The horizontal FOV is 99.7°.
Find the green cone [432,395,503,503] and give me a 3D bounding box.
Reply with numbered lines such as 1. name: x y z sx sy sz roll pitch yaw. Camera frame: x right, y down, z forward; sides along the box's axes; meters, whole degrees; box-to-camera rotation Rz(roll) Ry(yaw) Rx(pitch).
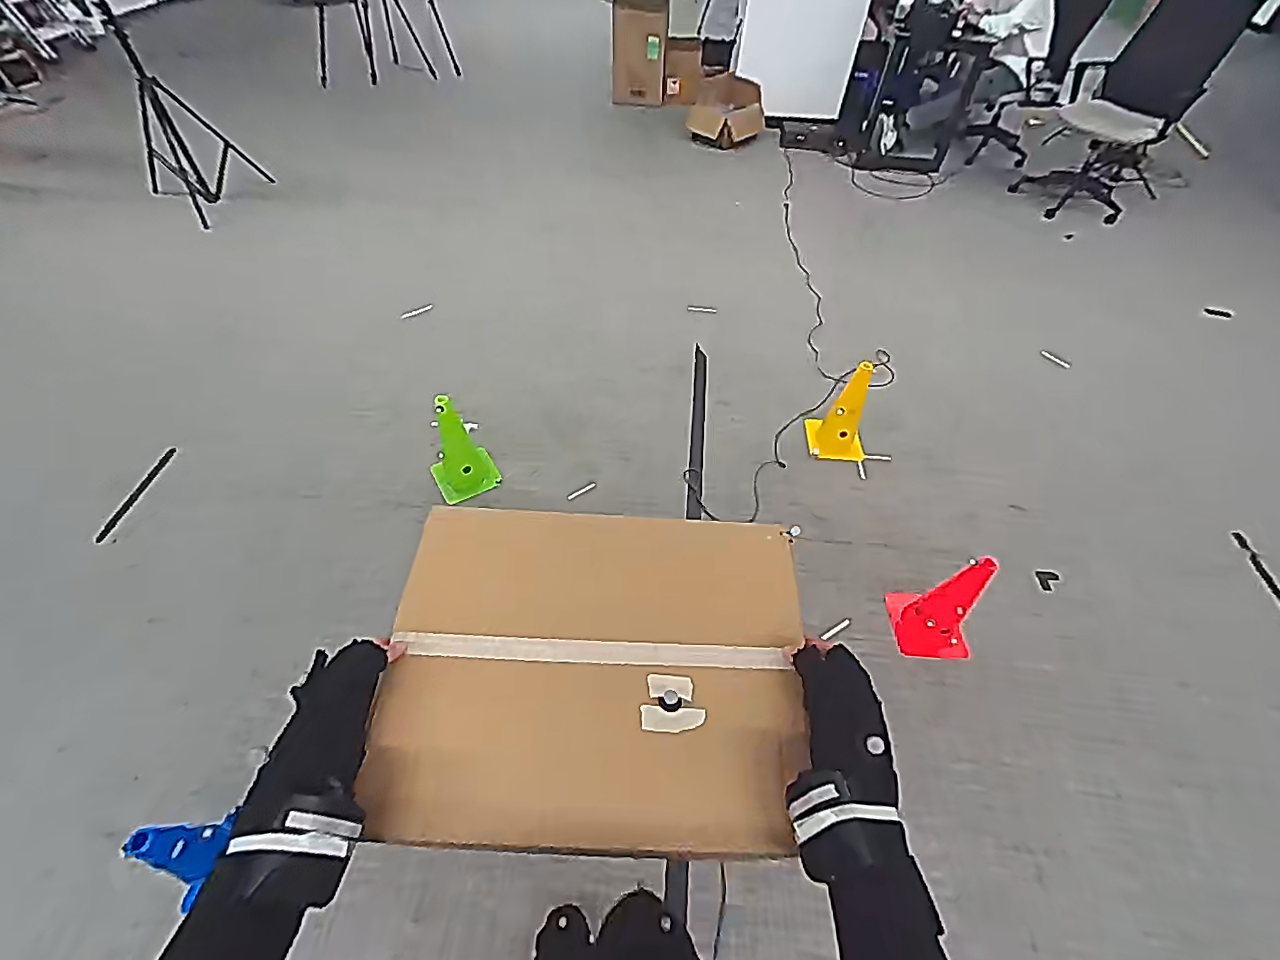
1. green cone: -0.598 -0.131 1.749 0.202 0.368 0.200 -26 55 -20

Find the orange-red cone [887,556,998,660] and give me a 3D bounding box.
1. orange-red cone: 0.843 0.312 1.448 0.198 0.360 0.199 4 49 0

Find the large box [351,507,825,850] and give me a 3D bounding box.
1. large box: -0.047 0.251 0.653 0.408 0.320 0.320 4 54 -2

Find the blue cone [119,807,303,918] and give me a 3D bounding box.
1. blue cone: -0.853 0.725 1.054 0.192 0.380 0.193 7 50 5
